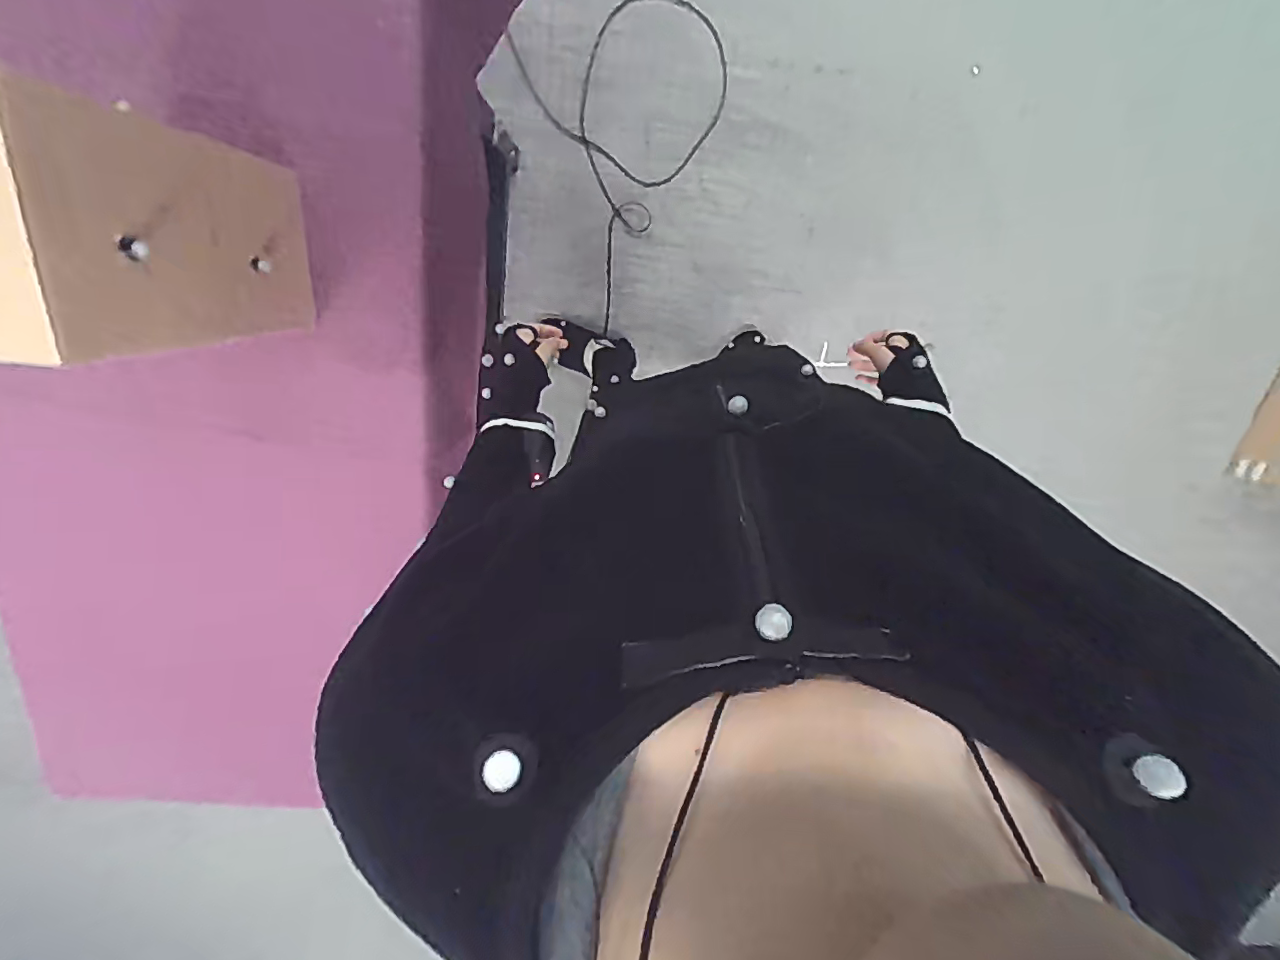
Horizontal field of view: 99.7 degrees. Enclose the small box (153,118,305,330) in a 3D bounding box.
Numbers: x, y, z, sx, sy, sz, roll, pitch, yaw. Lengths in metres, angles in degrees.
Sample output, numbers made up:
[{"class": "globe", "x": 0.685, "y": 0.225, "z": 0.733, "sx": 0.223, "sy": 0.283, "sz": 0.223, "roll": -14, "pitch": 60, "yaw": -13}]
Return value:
[{"class": "small box", "x": -0.478, "y": -0.259, "z": 0.558, "sx": 0.168, "sy": 0.176, "sz": 0.179, "roll": 3, "pitch": 110, "yaw": -4}]
